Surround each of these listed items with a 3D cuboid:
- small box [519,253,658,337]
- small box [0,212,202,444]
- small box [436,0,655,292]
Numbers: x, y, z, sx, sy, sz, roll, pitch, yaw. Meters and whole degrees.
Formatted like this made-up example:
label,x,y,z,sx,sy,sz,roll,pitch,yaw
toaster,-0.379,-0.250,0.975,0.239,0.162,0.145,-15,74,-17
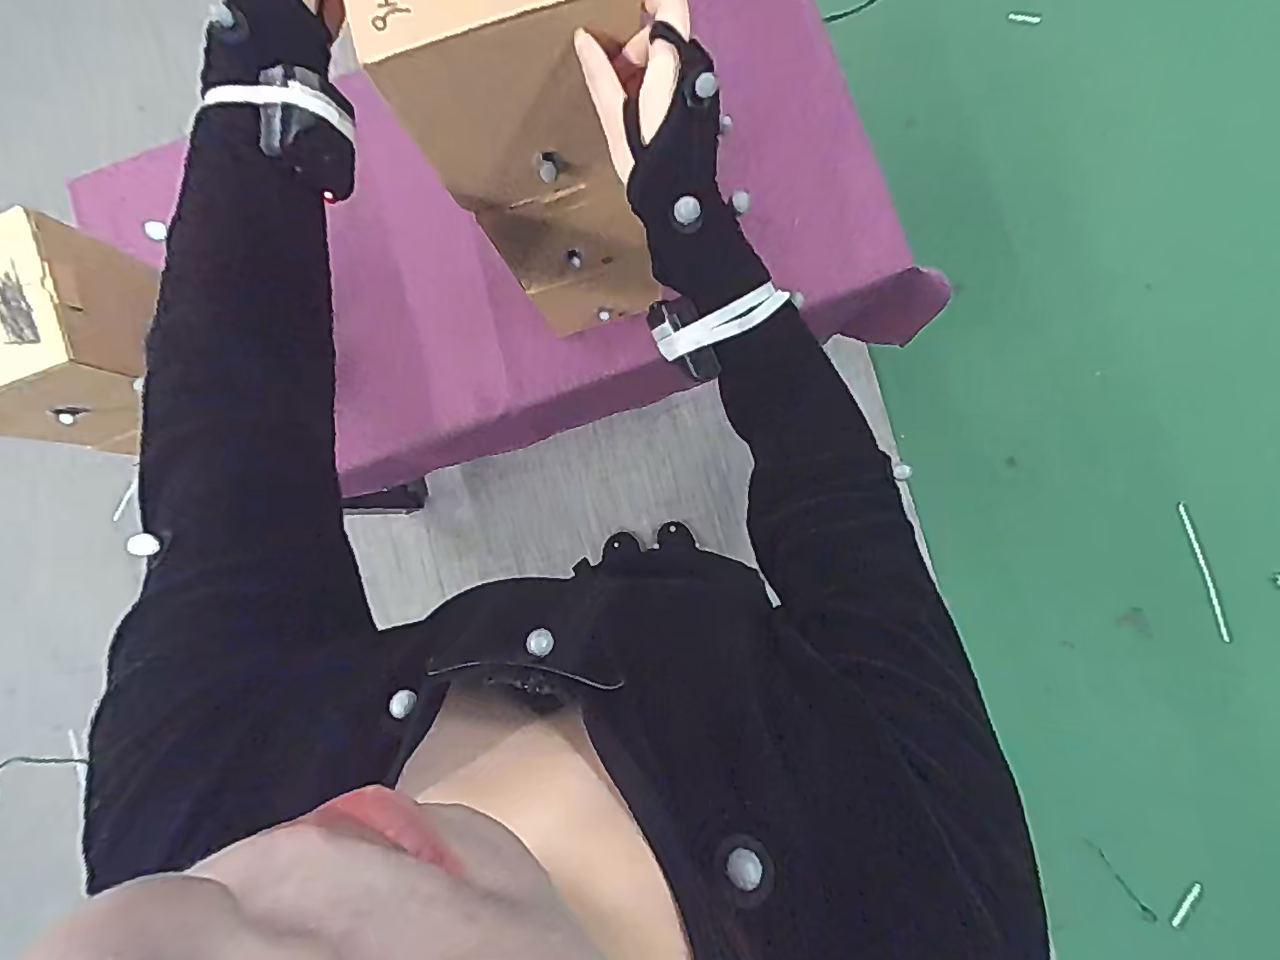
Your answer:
label,x,y,z,sx,sy,sz,roll,pitch,yaw
small box,-0.077,-0.319,0.731,0.168,0.176,0.179,-16,86,3
small box,-0.632,-0.149,0.592,0.179,0.176,0.168,-21,86,2
small box,-0.085,-0.329,0.568,0.168,0.176,0.179,-16,87,3
